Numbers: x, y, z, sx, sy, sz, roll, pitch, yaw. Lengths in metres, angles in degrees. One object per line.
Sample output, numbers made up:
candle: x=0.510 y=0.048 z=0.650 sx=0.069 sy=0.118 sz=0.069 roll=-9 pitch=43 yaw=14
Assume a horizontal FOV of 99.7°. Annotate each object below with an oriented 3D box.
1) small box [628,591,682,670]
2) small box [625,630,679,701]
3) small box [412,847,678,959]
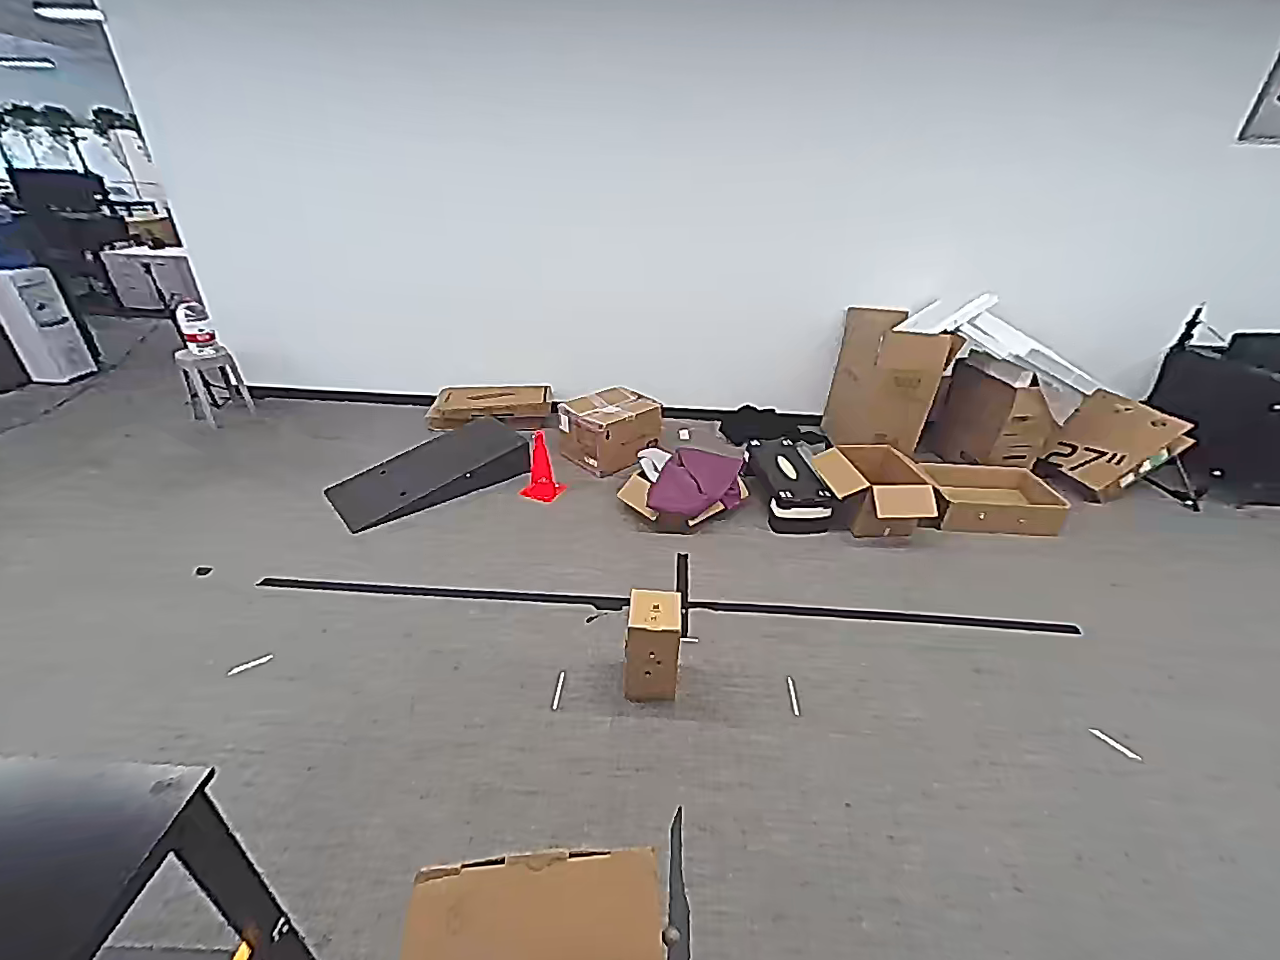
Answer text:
small box: x=0.049 y=0.487 z=1.757 sx=0.168 sy=0.176 sz=0.179 roll=3 pitch=30 yaw=2
small box: x=0.038 y=0.629 z=1.839 sx=0.179 sy=0.176 sz=0.168 roll=2 pitch=30 yaw=-1
small box: x=-0.057 y=0.374 z=0.364 sx=0.168 sy=0.176 sz=0.179 roll=-3 pitch=45 yaw=-3
